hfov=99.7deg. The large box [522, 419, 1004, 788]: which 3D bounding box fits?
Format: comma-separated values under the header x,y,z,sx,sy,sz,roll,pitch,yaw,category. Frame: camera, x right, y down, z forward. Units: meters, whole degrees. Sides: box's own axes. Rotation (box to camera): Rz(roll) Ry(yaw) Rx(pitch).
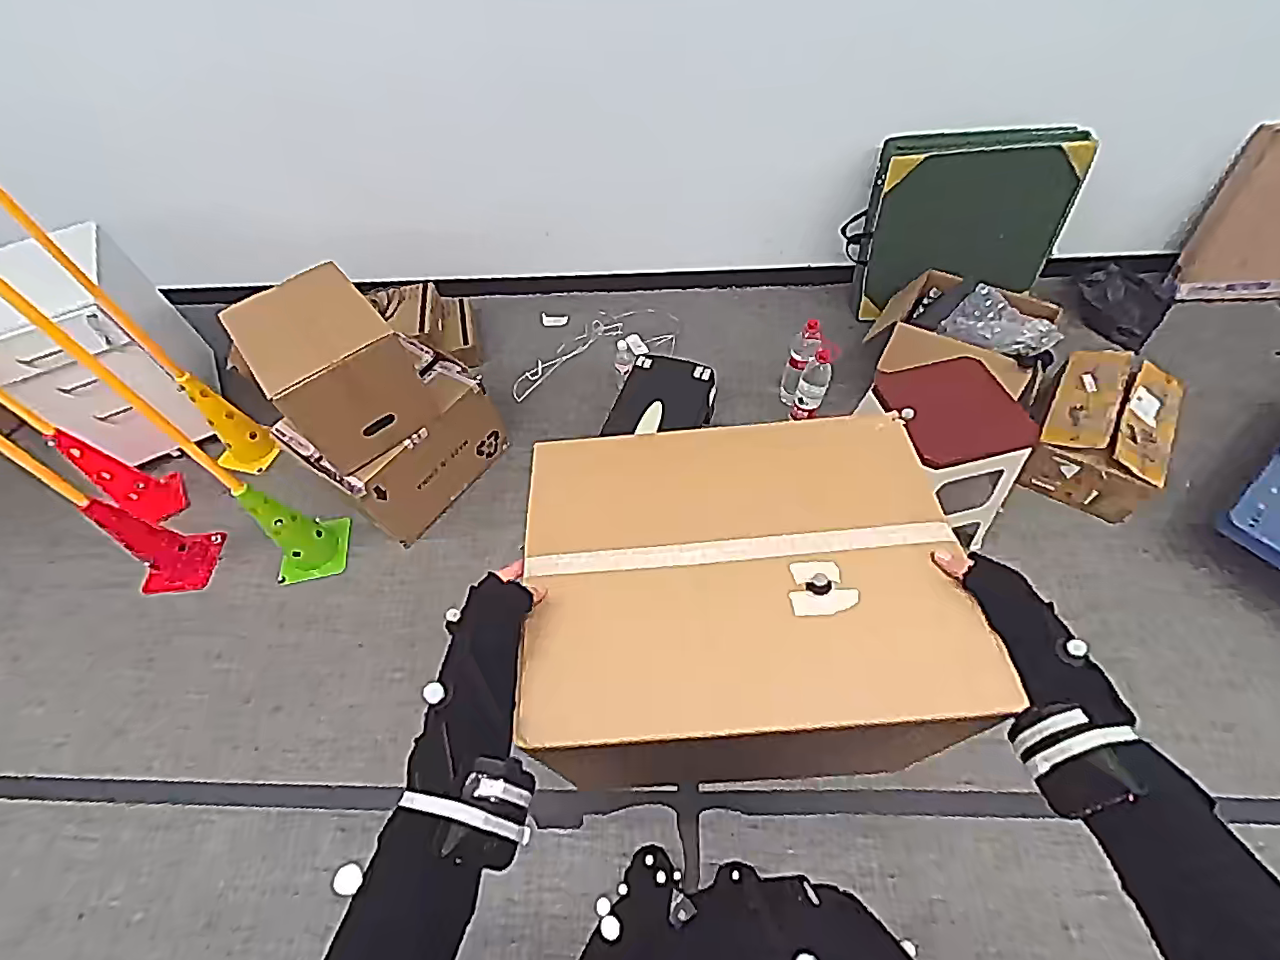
x,y,z,sx,sy,sz,roll,pitch,yaw,category
0.098,0.159,0.645,0.408,0.320,0.320,-5,54,2,large box
